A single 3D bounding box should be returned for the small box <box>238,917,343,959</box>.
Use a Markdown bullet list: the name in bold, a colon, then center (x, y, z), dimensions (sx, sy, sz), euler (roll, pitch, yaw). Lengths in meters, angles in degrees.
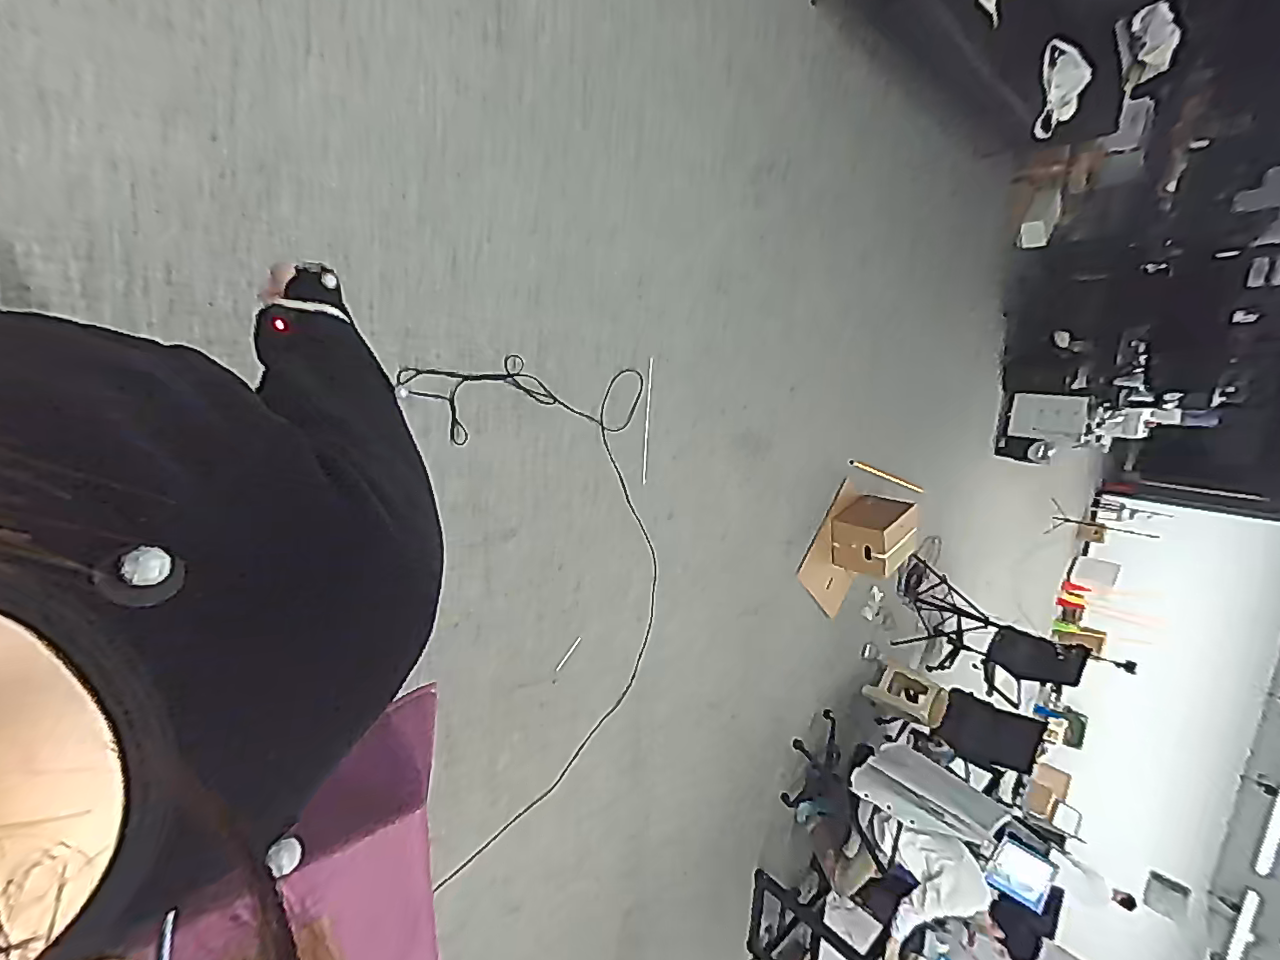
- **small box**: center (-0.486, 0.750, 0.718), dimensions (0.179, 0.176, 0.168), euler (-6, 105, -40)
